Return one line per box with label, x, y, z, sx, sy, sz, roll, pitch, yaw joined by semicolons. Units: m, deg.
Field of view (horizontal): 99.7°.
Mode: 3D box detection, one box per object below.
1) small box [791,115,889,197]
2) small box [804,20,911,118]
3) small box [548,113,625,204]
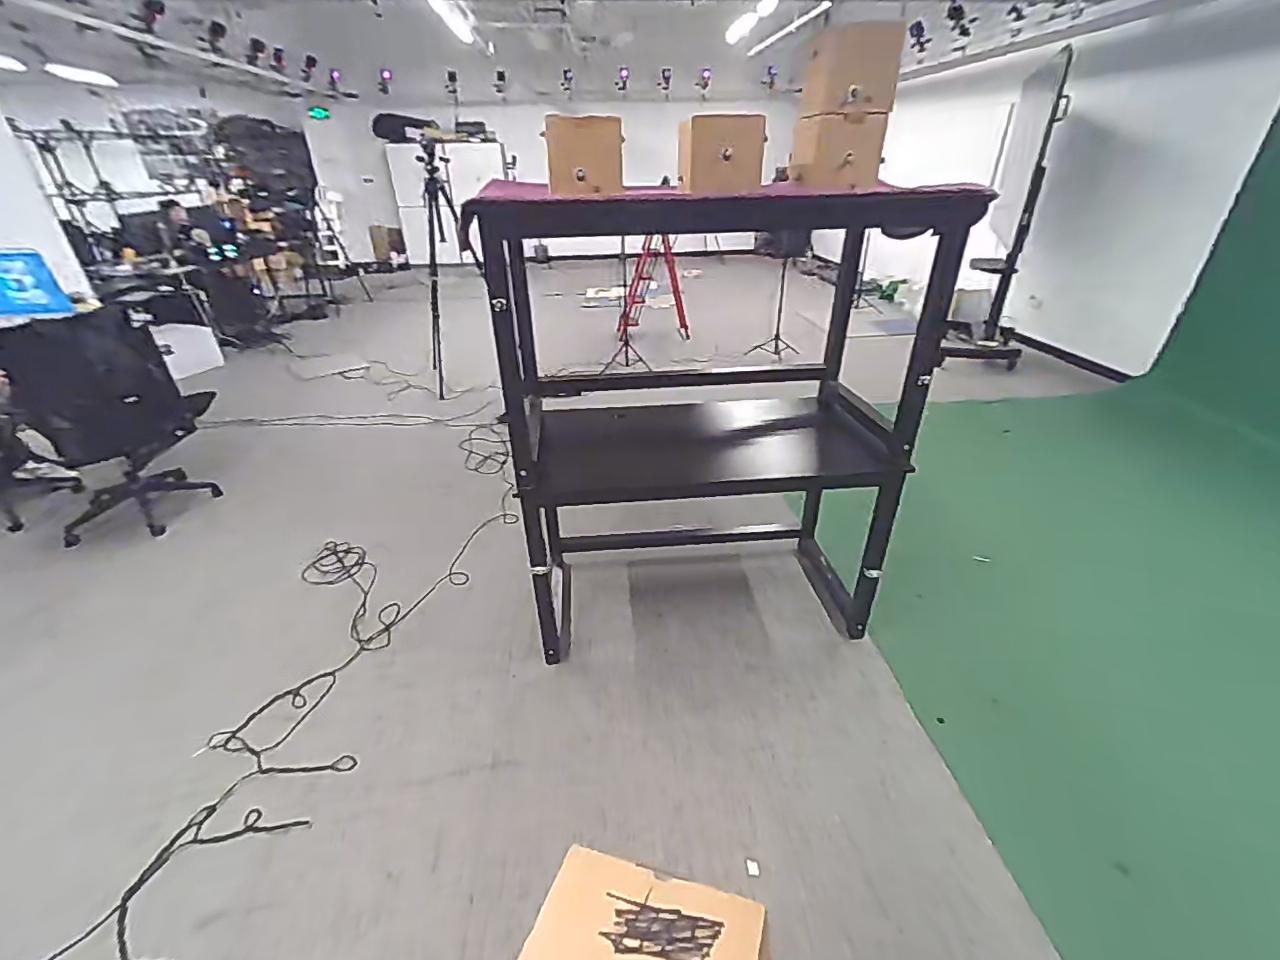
small box;0.484;-0.797;1.334;0.168;0.176;0.179;-3;31;-4
small box;0.490;-0.937;1.251;0.168;0.176;0.179;-3;31;-1
small box;-0.128;-0.750;1.272;0.168;0.176;0.179;-5;30;-8
